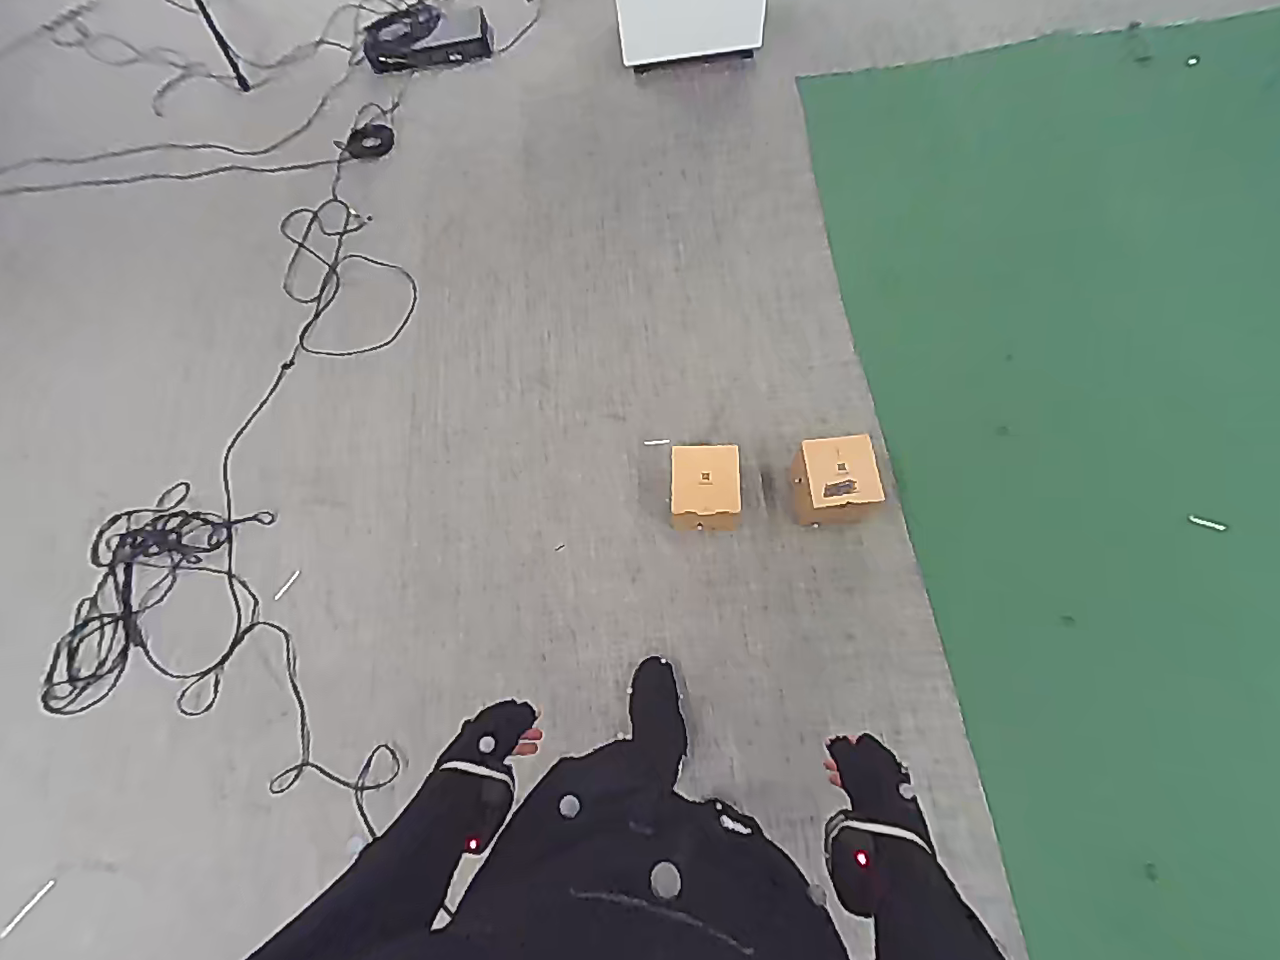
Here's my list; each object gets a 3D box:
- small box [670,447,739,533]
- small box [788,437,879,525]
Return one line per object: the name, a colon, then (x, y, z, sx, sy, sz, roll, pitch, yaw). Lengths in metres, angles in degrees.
small box: (0.160, 0.029, 1.383, 0.168, 0.176, 0.179, -1, 70, 5)
small box: (0.477, 0.010, 1.360, 0.168, 0.176, 0.179, -5, 69, 3)
